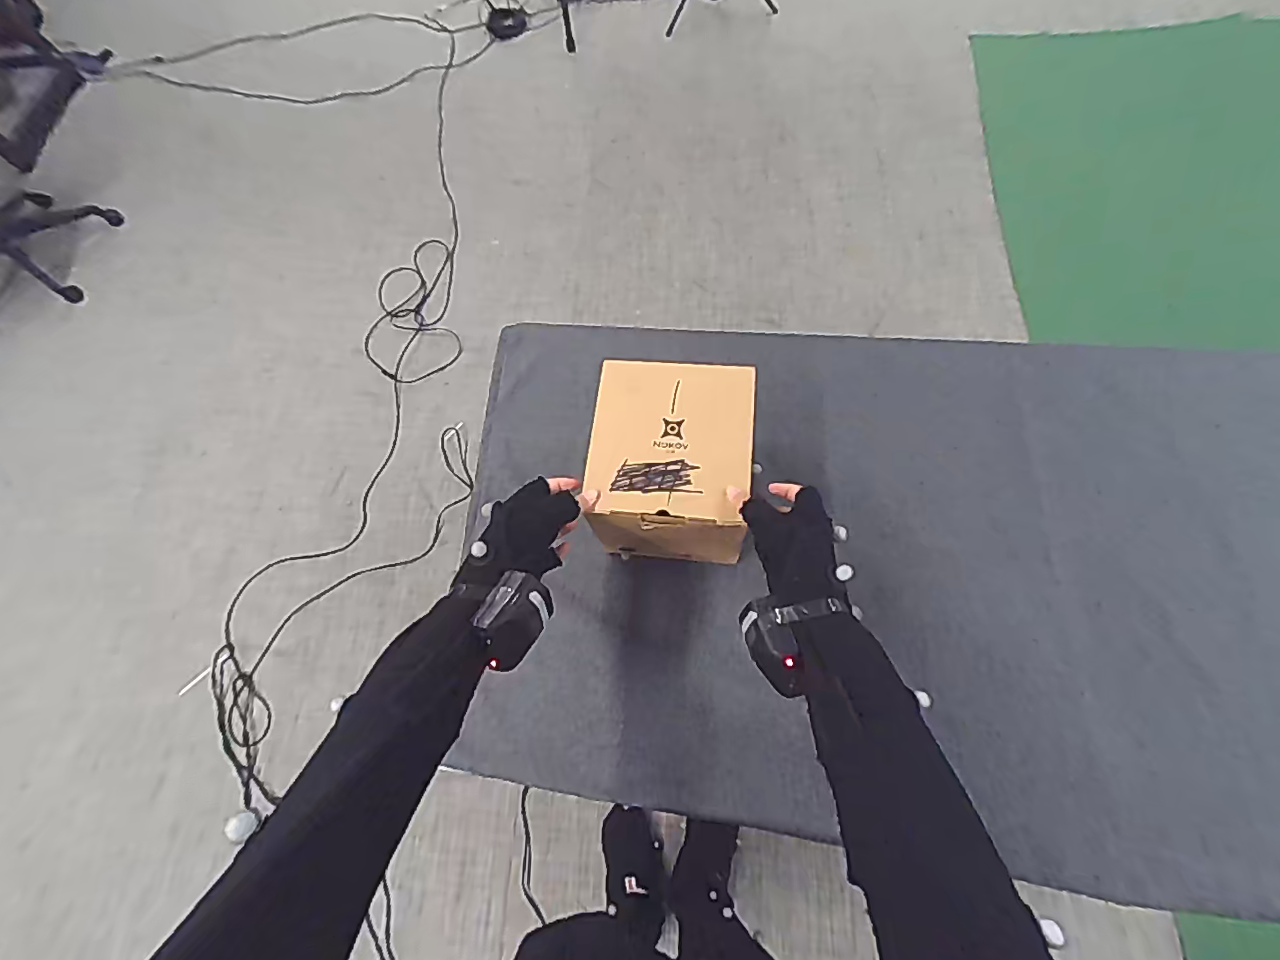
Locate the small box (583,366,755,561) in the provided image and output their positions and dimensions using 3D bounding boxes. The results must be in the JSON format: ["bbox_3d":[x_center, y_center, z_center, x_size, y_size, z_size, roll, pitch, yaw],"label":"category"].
[{"bbox_3d":[0.041,-0.011,0.630,0.168,0.176,0.179,4,68,7],"label":"small box"}]
